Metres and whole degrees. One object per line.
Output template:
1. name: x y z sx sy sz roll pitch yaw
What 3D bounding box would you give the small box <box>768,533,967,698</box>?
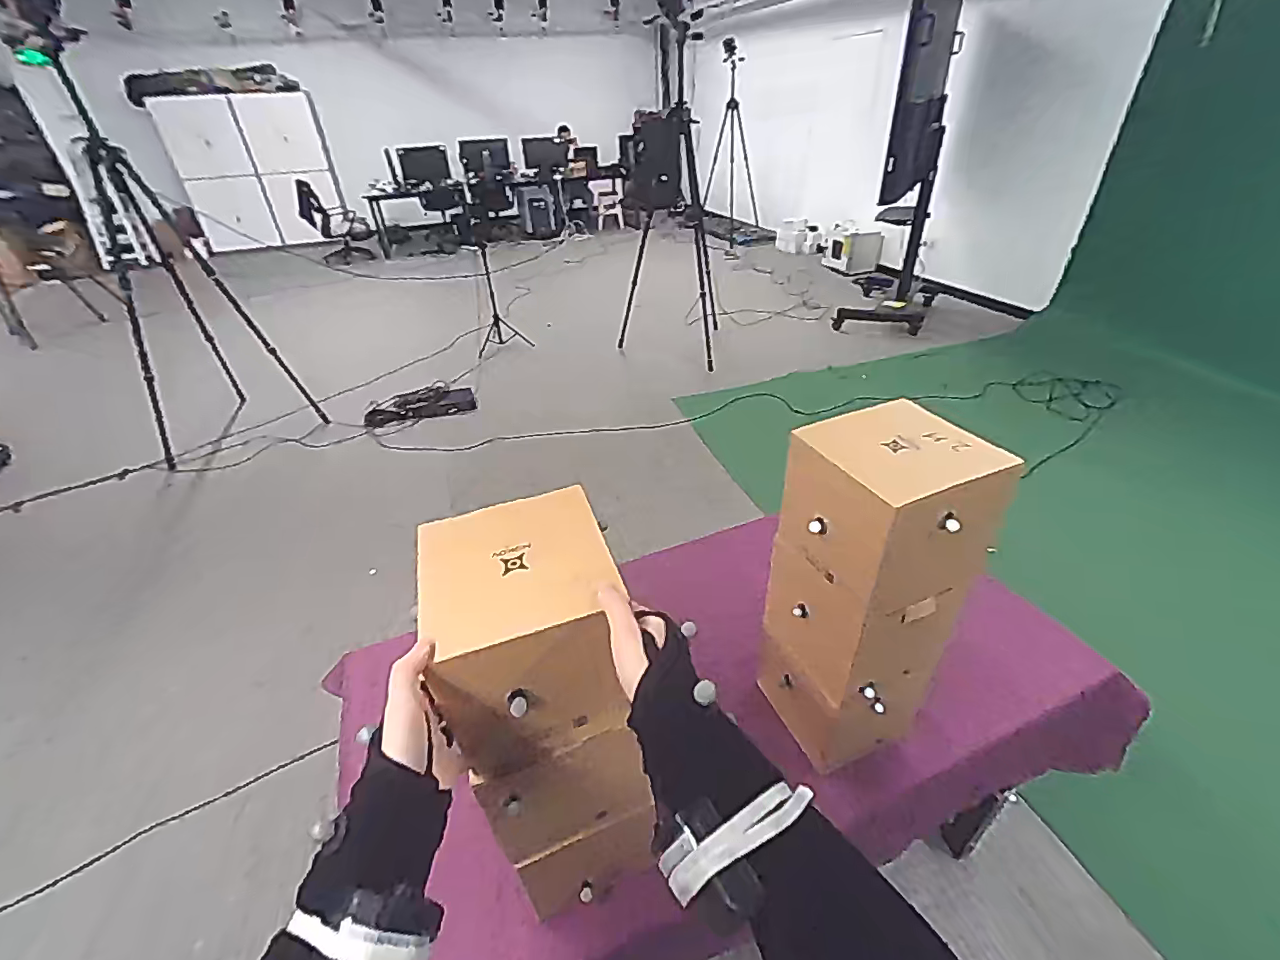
1. small box: 0.293 0.167 0.737 0.168 0.176 0.179 -16 36 -18

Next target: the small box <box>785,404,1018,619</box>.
1. small box: 0.288 0.035 0.639 0.179 0.176 0.168 -15 38 -17

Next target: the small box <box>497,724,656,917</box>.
1. small box: -0.086 0.414 0.707 0.168 0.176 0.179 -15 37 -15

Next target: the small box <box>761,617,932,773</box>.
1. small box: 0.300 0.303 0.830 0.168 0.176 0.179 -17 36 -16

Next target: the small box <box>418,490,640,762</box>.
1. small box: -0.105 0.141 0.524 0.168 0.176 0.179 -15 37 -13
